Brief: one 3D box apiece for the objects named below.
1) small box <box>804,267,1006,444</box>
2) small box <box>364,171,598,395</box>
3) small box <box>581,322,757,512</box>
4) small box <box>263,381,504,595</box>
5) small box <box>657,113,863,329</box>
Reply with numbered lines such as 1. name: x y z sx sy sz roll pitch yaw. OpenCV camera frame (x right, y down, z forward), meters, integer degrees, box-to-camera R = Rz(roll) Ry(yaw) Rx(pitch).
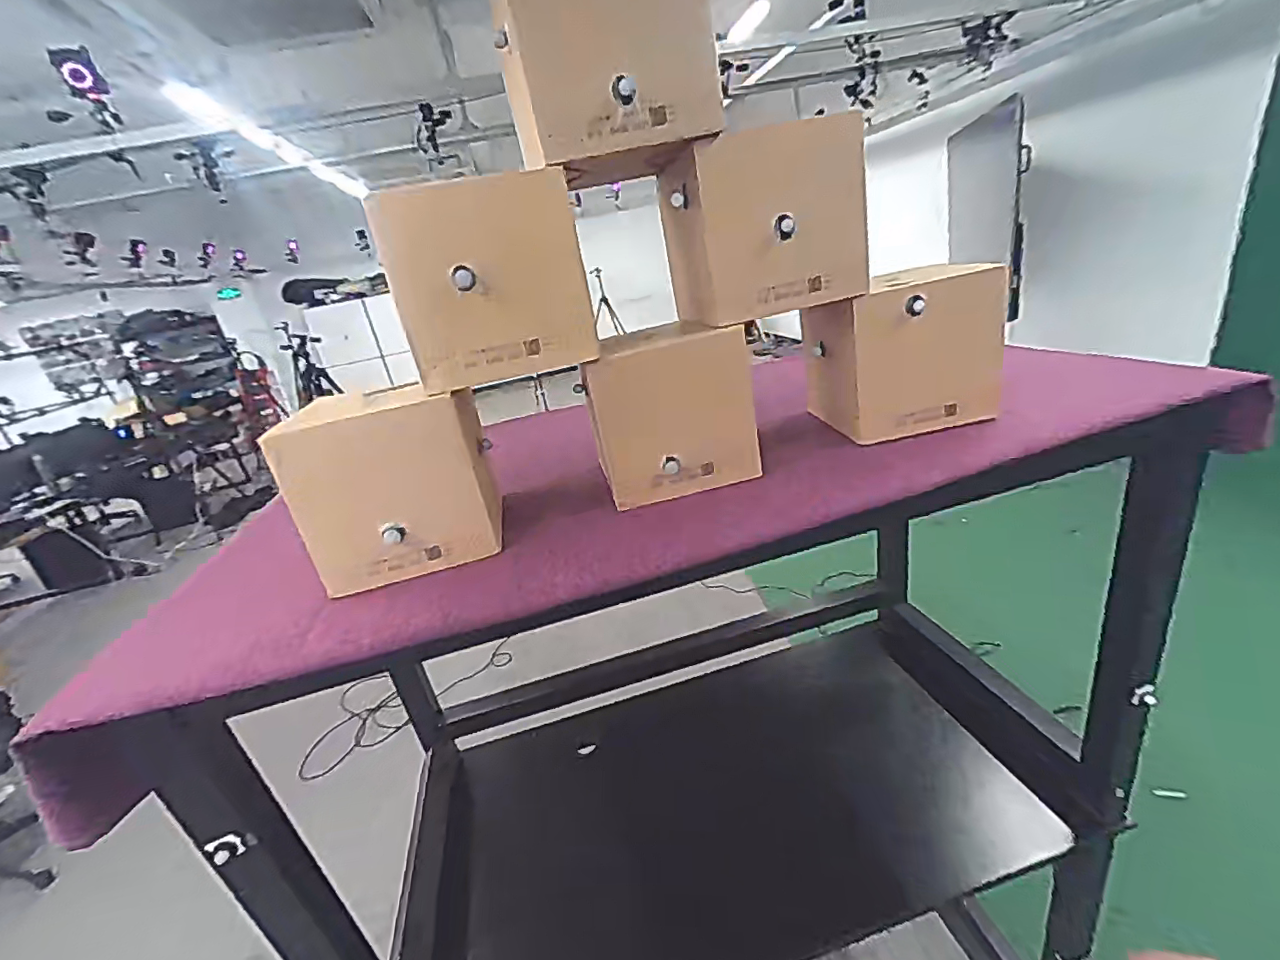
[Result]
1. small box: 0.309 -0.154 0.664 0.168 0.176 0.179 -13 20 1
2. small box: -0.148 -0.189 0.547 0.168 0.176 0.179 -15 21 -10
3. small box: 0.026 -0.082 0.634 0.168 0.176 0.179 -14 22 -4
4. small box: -0.249 -0.005 0.578 0.168 0.176 0.179 -15 22 -8
5. small box: 0.127 -0.268 0.594 0.168 0.176 0.179 -14 21 -5
